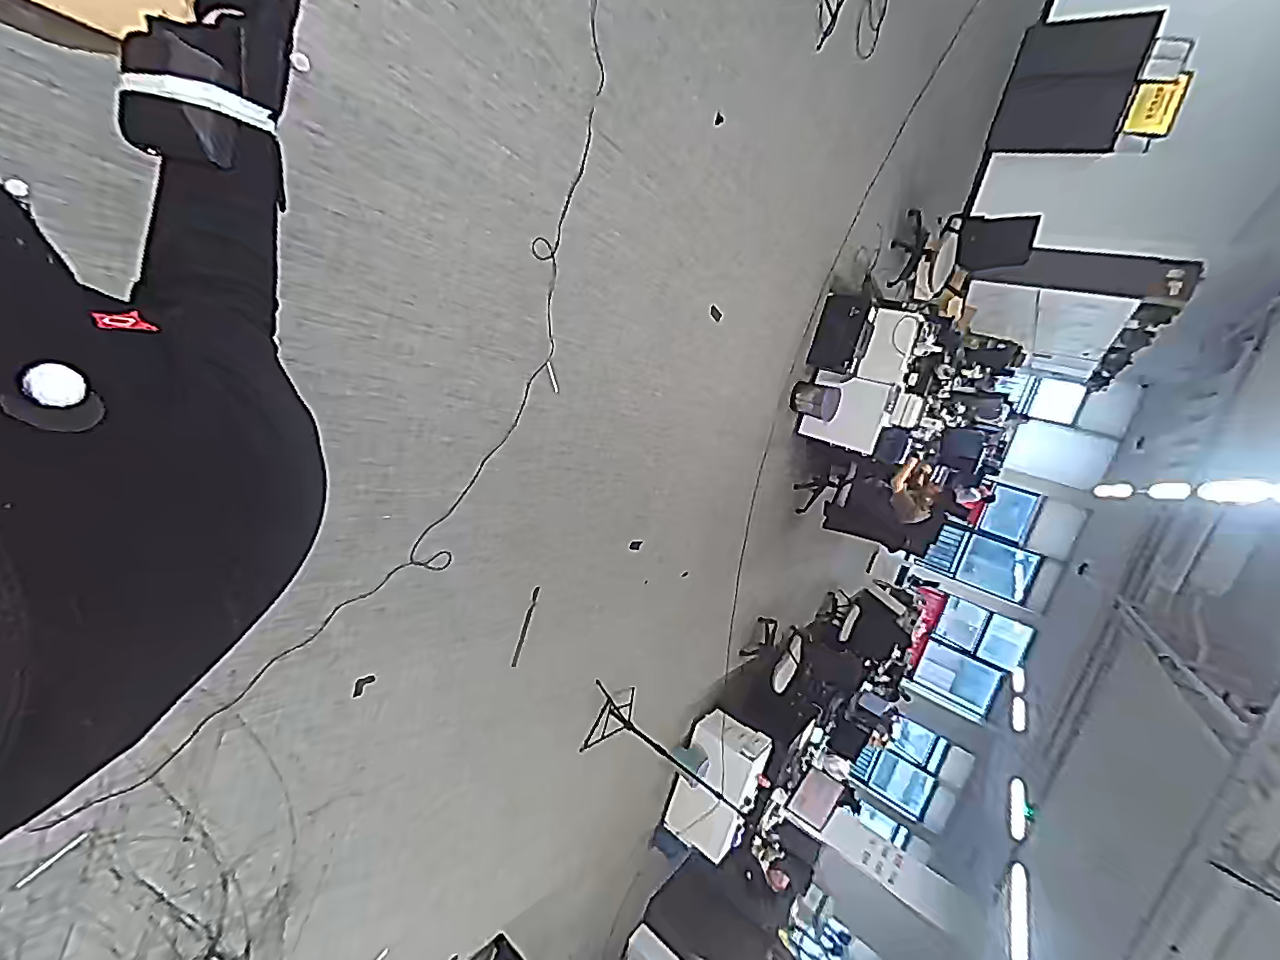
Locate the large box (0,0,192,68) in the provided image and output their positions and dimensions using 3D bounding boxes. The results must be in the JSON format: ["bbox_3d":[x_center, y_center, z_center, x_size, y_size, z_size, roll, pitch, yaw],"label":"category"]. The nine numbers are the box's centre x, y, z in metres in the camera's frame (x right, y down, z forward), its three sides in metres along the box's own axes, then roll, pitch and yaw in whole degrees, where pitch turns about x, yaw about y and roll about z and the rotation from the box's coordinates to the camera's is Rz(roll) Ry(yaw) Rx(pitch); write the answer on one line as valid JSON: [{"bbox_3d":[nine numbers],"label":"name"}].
[{"bbox_3d":[-0.489,-0.462,0.230,0.408,0.320,0.320,-8,124,-57],"label":"large box"}]
